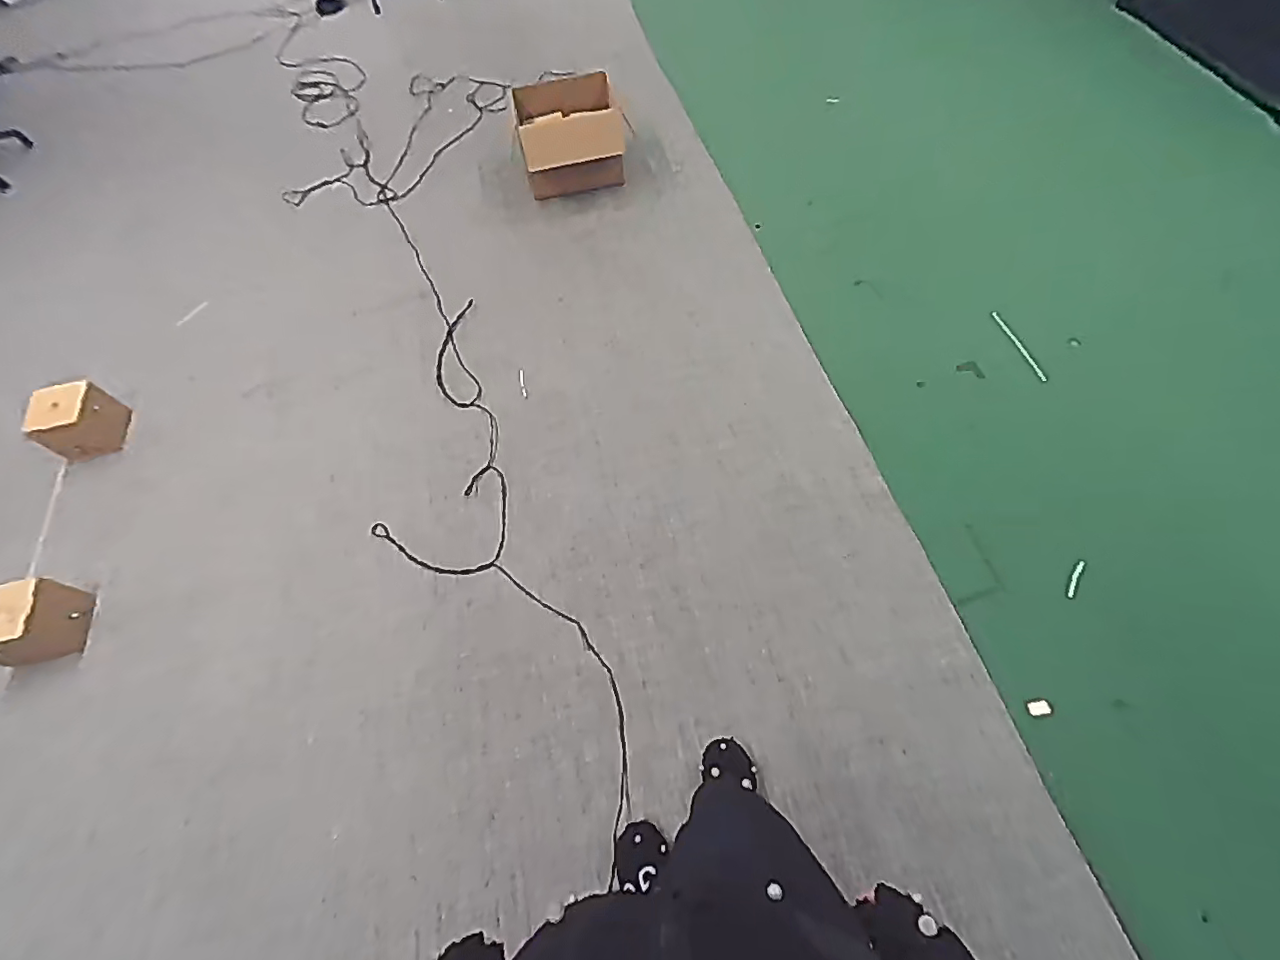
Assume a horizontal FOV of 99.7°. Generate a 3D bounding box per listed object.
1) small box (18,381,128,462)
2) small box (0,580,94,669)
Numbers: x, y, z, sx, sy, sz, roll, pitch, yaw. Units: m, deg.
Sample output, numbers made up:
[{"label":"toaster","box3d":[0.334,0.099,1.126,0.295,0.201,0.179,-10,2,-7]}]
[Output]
[{"label":"small box","box3d":[-1.821,-0.187,1.750,0.168,0.176,0.179,-15,62,-5]},{"label":"small box","box3d":[-1.625,0.386,1.428,0.179,0.176,0.168,-15,62,-5]}]
